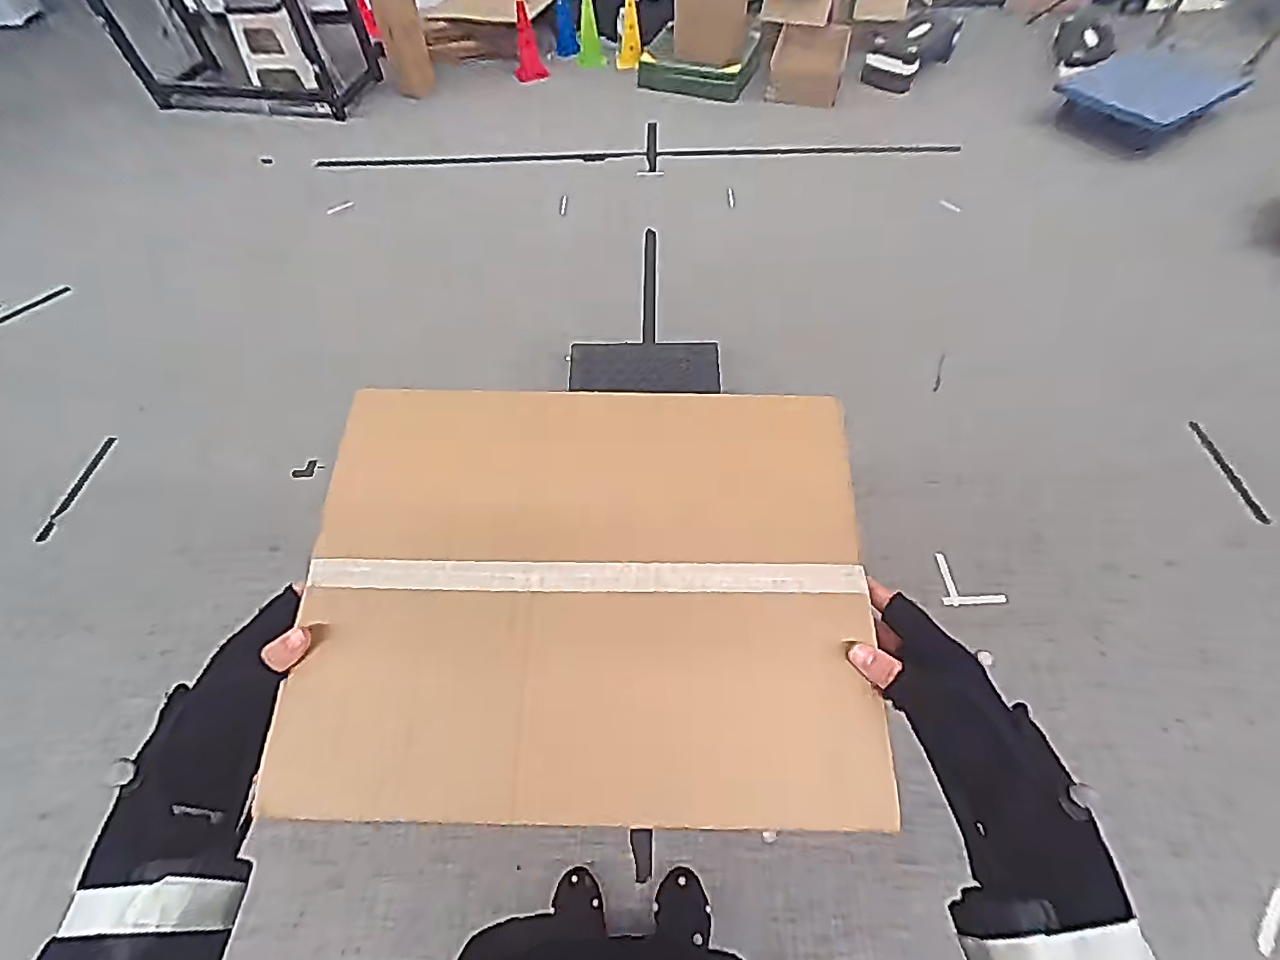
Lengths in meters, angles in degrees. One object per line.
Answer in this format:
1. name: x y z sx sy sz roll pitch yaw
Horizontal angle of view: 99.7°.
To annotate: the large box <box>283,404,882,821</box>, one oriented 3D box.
1. large box: -0.036 0.133 0.547 0.408 0.320 0.320 1 67 1
